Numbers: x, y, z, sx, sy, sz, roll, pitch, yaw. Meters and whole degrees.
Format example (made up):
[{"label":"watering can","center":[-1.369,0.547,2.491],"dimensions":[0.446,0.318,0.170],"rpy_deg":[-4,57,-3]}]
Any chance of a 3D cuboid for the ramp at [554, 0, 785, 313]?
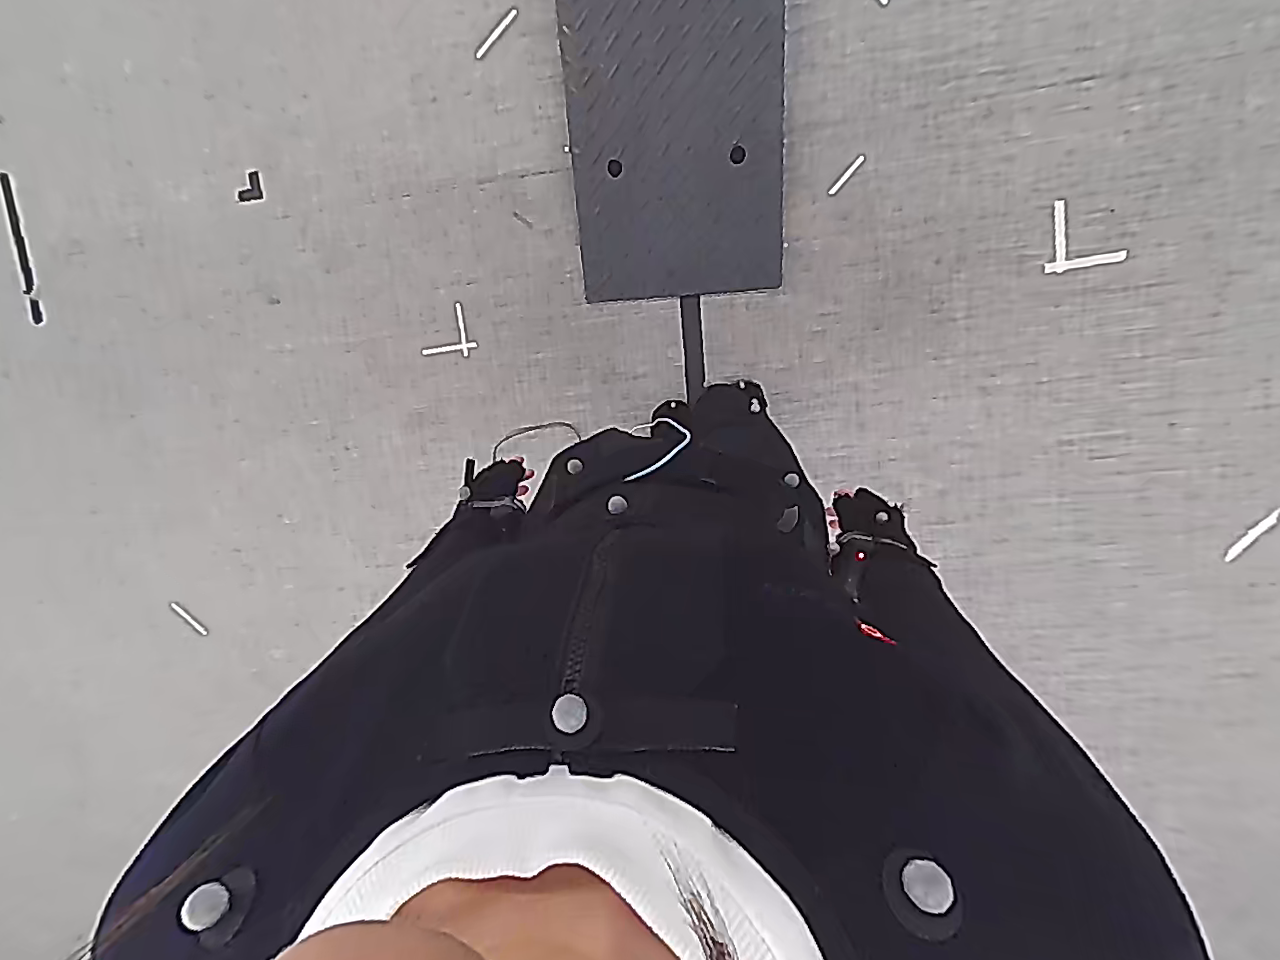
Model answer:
[{"label":"ramp","center":[0.070,-0.919,1.218],"dimensions":[0.509,0.206,0.991],"rpy_deg":[-6,98,6]}]
